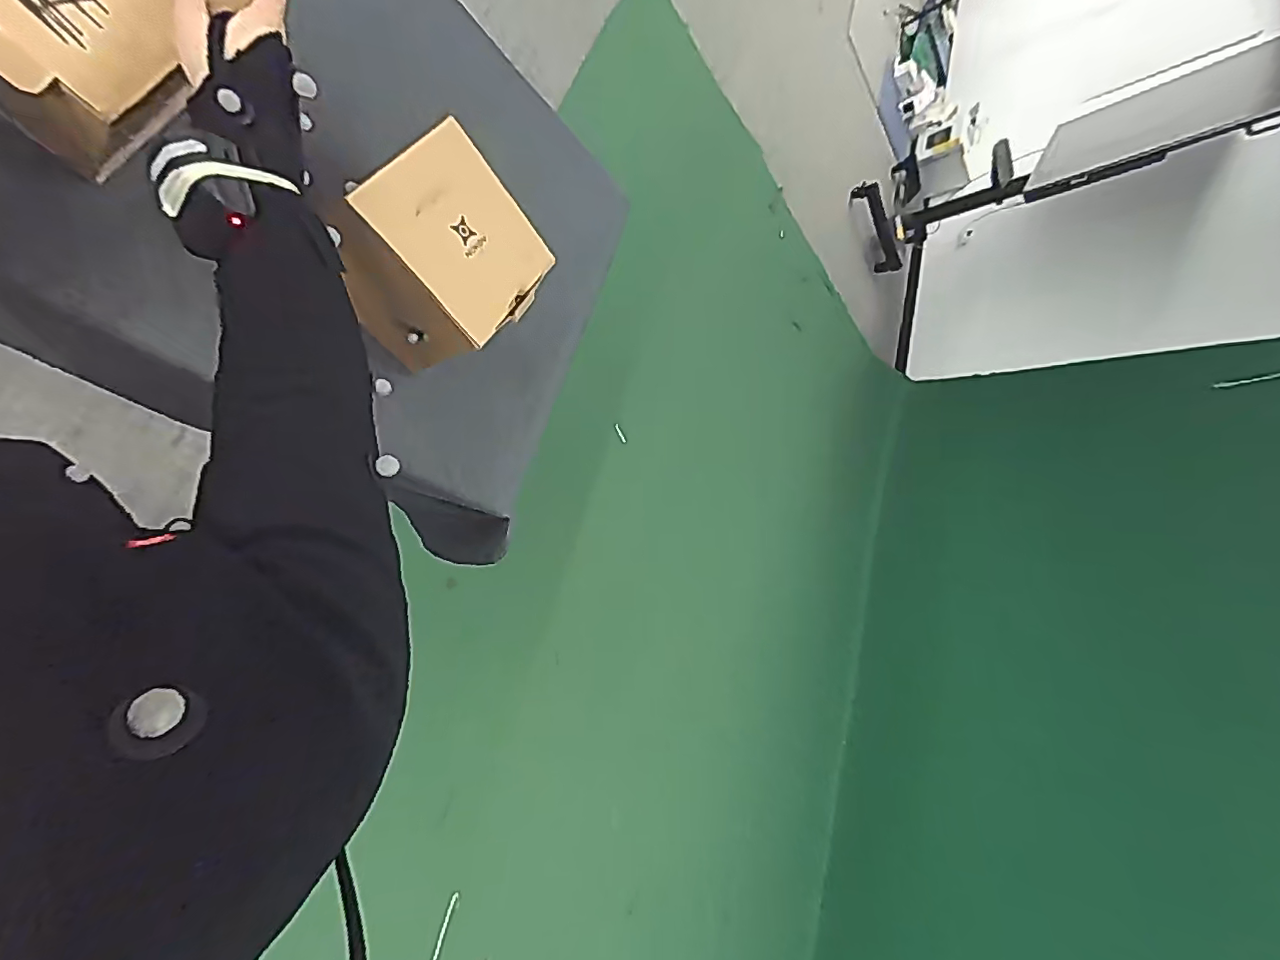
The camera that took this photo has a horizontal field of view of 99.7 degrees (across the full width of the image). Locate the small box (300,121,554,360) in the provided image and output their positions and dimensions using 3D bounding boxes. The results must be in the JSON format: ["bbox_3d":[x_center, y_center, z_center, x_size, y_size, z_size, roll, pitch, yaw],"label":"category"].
[{"bbox_3d":[-0.241,-0.256,0.623,0.179,0.176,0.168,50,55,-33],"label":"small box"}]
